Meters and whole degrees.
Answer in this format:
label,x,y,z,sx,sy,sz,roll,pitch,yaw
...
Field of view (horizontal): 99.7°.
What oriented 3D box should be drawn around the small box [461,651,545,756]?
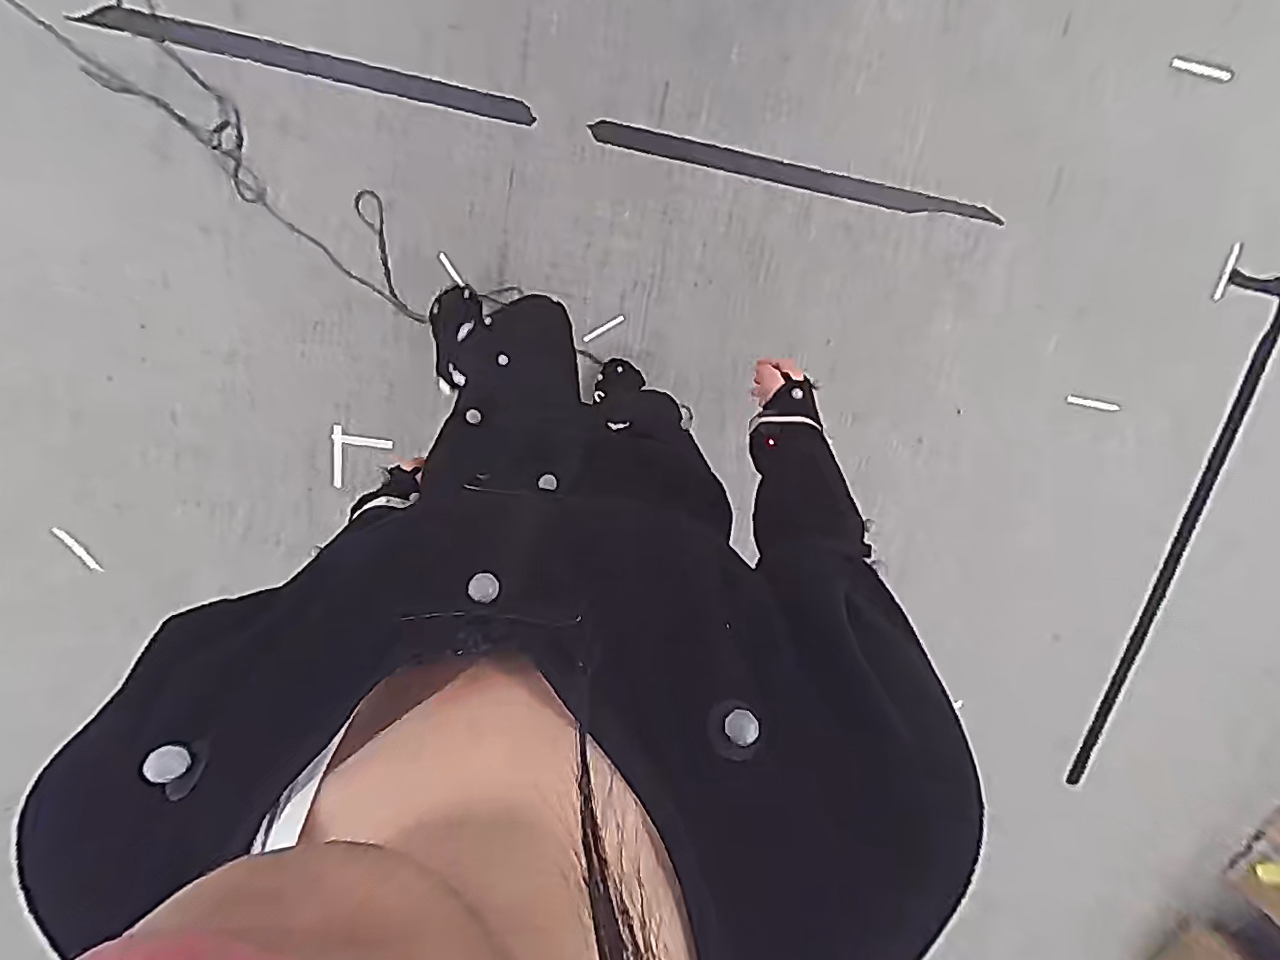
label,x,y,z,sx,sy,sz,roll,pitch,yaw
small box,-0.342,0.558,1.370,0.168,0.176,0.179,11,104,-5
